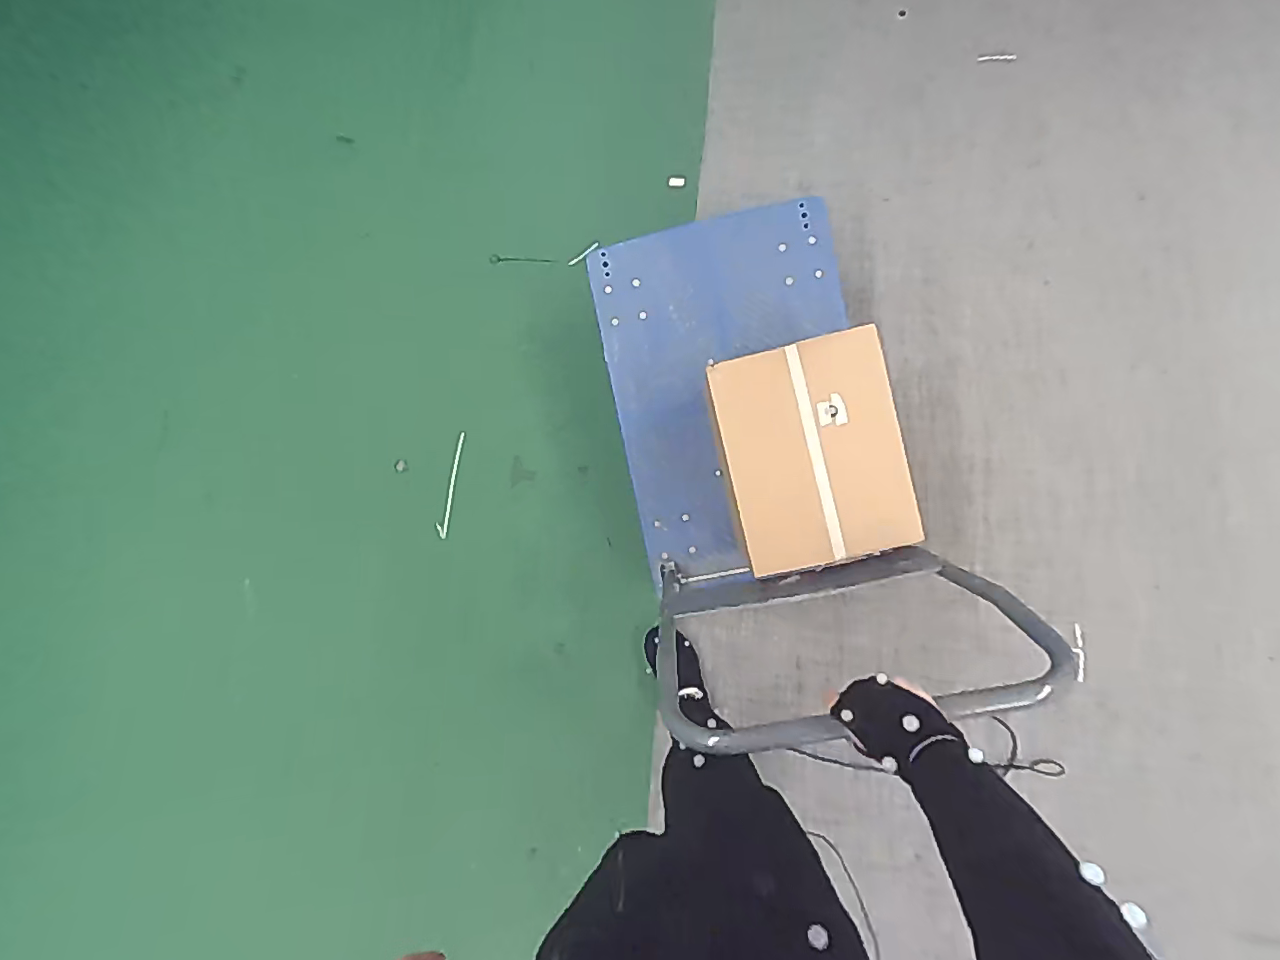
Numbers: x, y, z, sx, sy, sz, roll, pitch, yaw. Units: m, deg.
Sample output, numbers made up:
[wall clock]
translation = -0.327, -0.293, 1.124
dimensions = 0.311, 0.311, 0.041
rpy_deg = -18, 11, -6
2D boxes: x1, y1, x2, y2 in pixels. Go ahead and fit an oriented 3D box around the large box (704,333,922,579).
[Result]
[large box]
translation = 0.333, -0.042, 1.142
dimensions = 0.320, 0.320, 0.408
rpy_deg = -14, 89, 4
